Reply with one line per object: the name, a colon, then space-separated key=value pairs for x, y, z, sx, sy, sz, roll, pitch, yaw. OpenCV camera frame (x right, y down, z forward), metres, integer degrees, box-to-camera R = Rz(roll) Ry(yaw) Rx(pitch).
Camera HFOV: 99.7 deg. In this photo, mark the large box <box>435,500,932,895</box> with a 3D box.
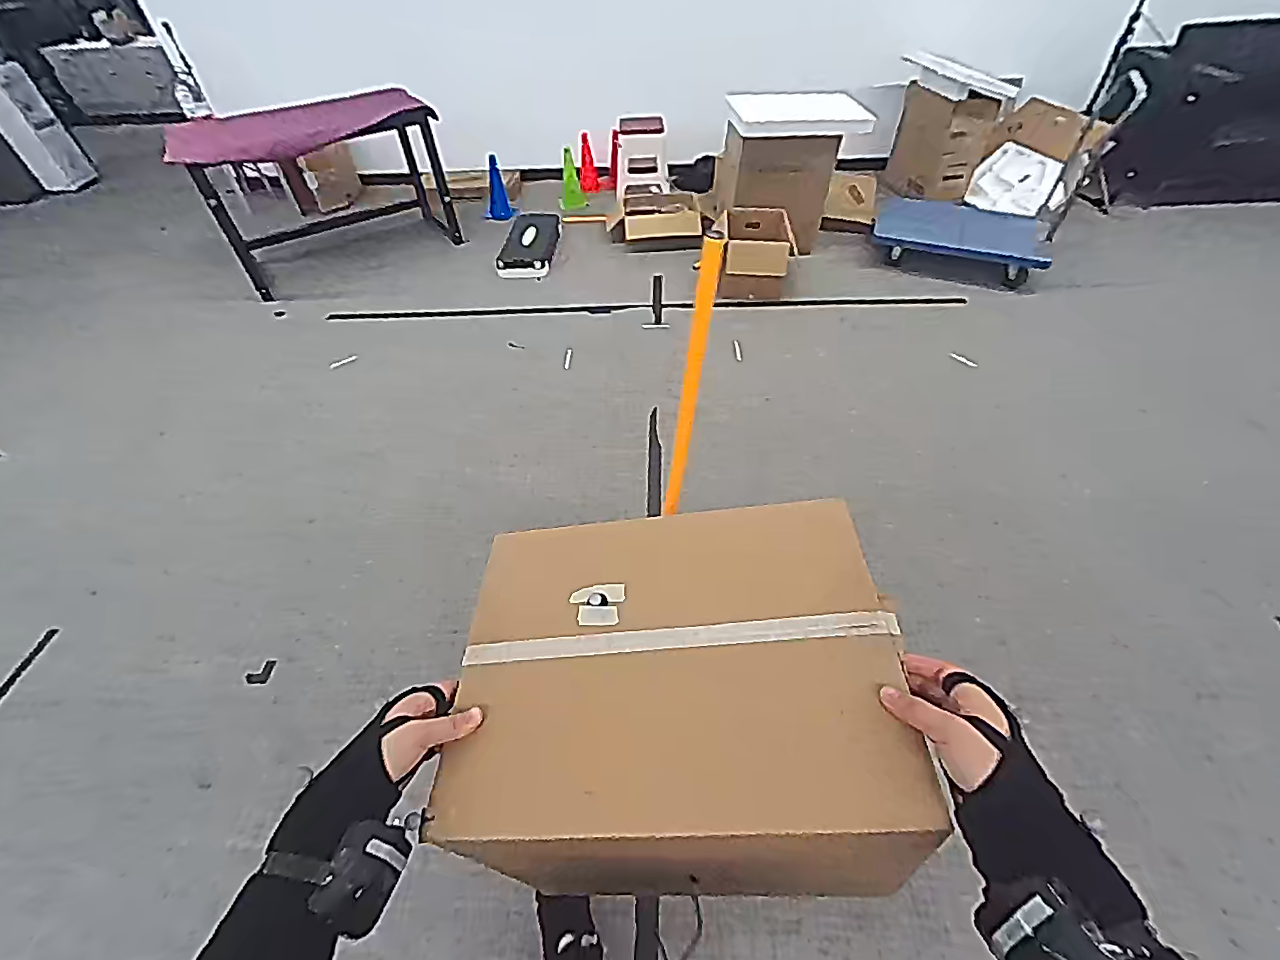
large box: x=0.054 y=0.263 z=0.627 sx=0.408 sy=0.320 sz=0.320 roll=-9 pitch=43 yaw=9
